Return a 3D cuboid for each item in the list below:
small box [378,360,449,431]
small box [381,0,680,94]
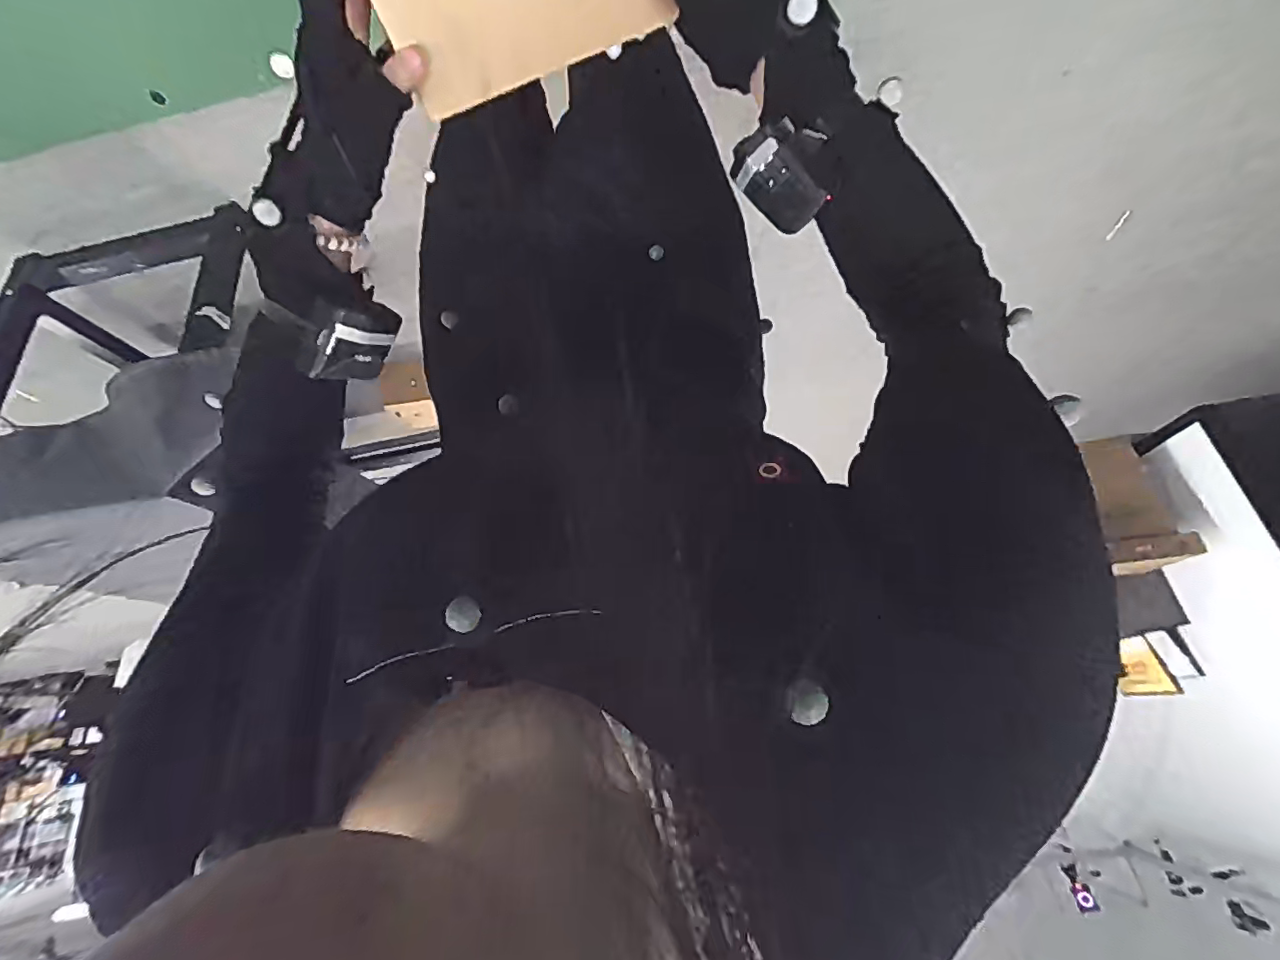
[{"bbox_3d":[-0.760,-0.286,1.821,0.179,0.176,0.168,-9,157,0],"label":"small box"},{"bbox_3d":[-0.093,-0.365,0.309,0.179,0.176,0.168,-25,145,-4],"label":"small box"}]
